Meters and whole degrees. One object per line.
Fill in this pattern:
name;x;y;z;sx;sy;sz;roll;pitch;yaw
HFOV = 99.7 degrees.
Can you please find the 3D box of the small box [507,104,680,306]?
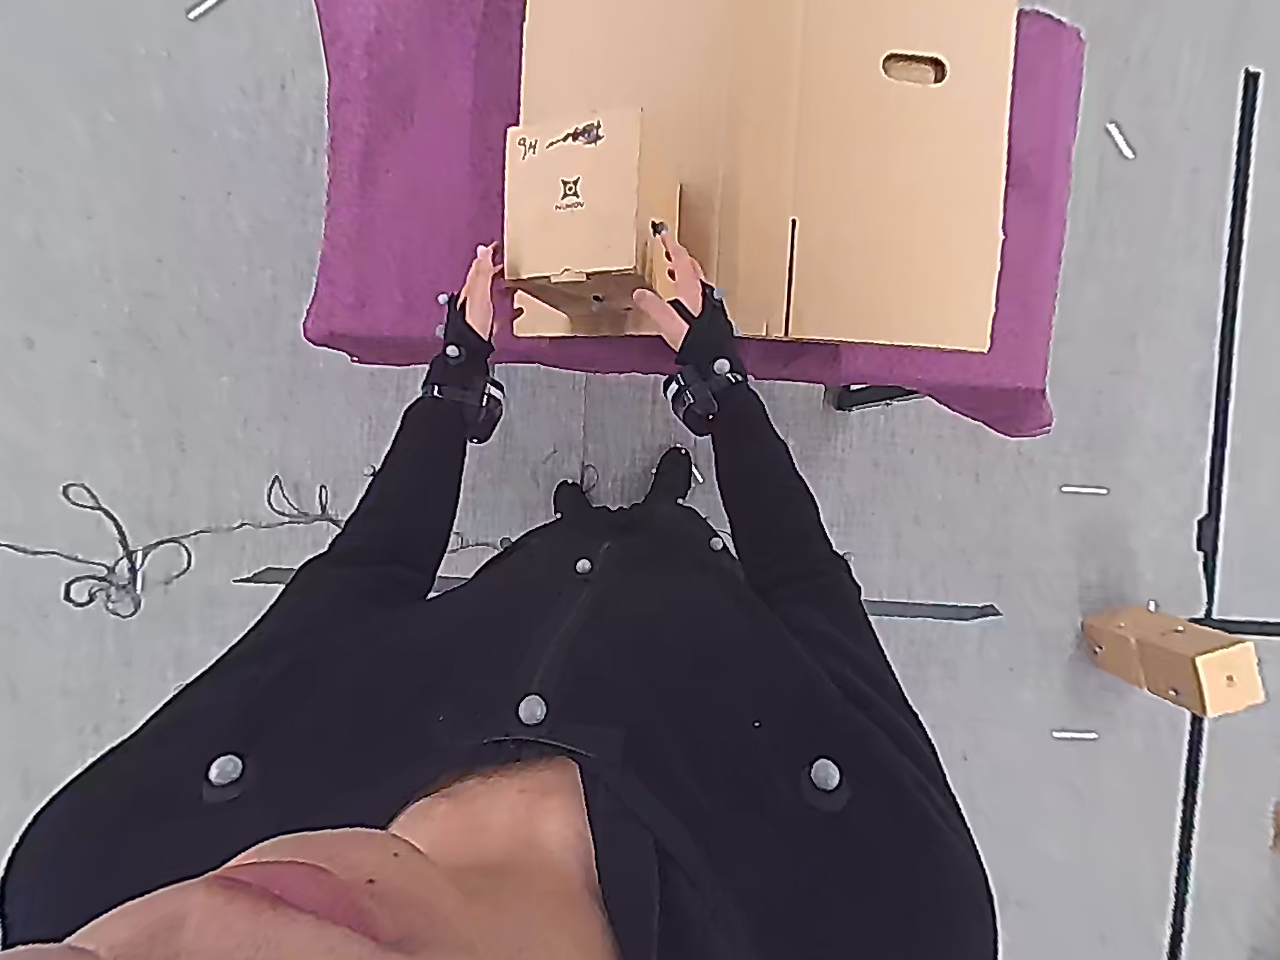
small box;-0.050;-0.323;0.679;0.168;0.176;0.179;3;94;18
